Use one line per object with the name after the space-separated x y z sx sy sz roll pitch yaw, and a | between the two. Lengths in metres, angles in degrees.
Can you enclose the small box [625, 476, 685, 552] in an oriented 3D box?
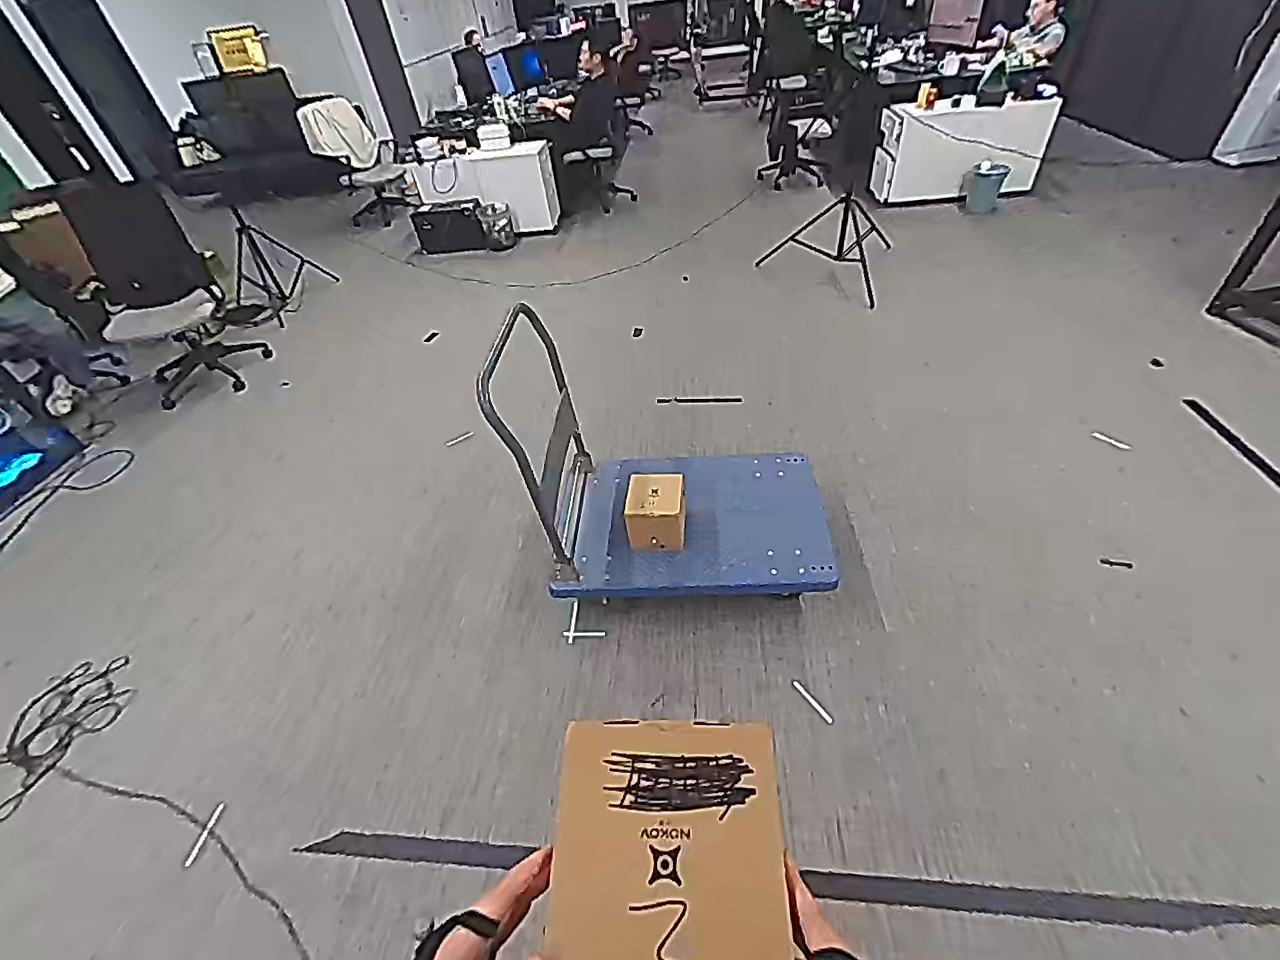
0.054 0.105 1.701 0.168 0.176 0.179 0 44 9 | small box
